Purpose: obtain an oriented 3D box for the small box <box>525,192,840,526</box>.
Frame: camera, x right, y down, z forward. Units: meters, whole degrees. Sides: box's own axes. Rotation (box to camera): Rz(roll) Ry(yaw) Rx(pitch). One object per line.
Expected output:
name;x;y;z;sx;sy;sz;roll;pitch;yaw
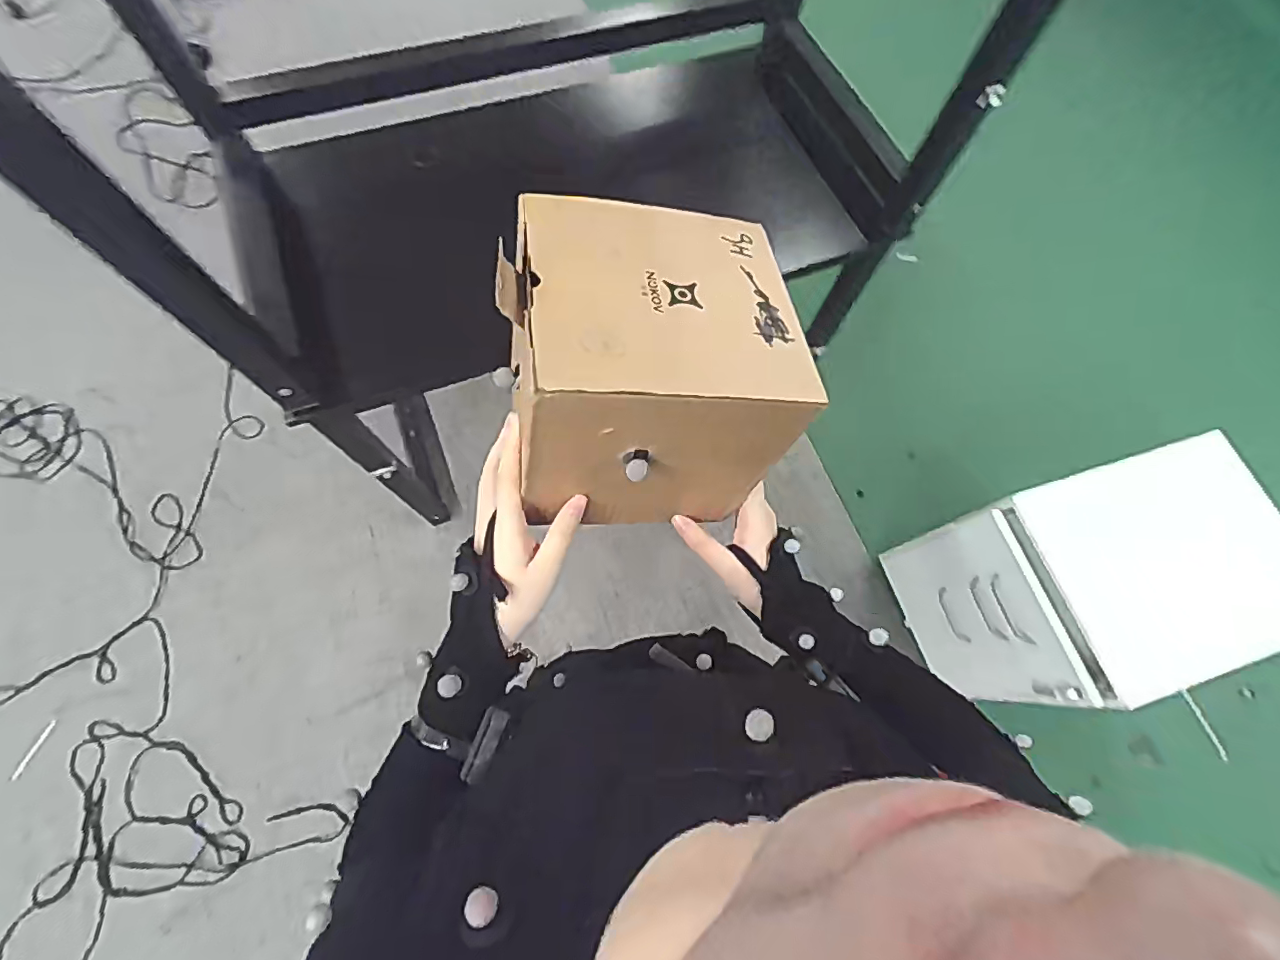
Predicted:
small box;0.006;-0.073;0.394;0.179;0.176;0.168;0;61;-15
